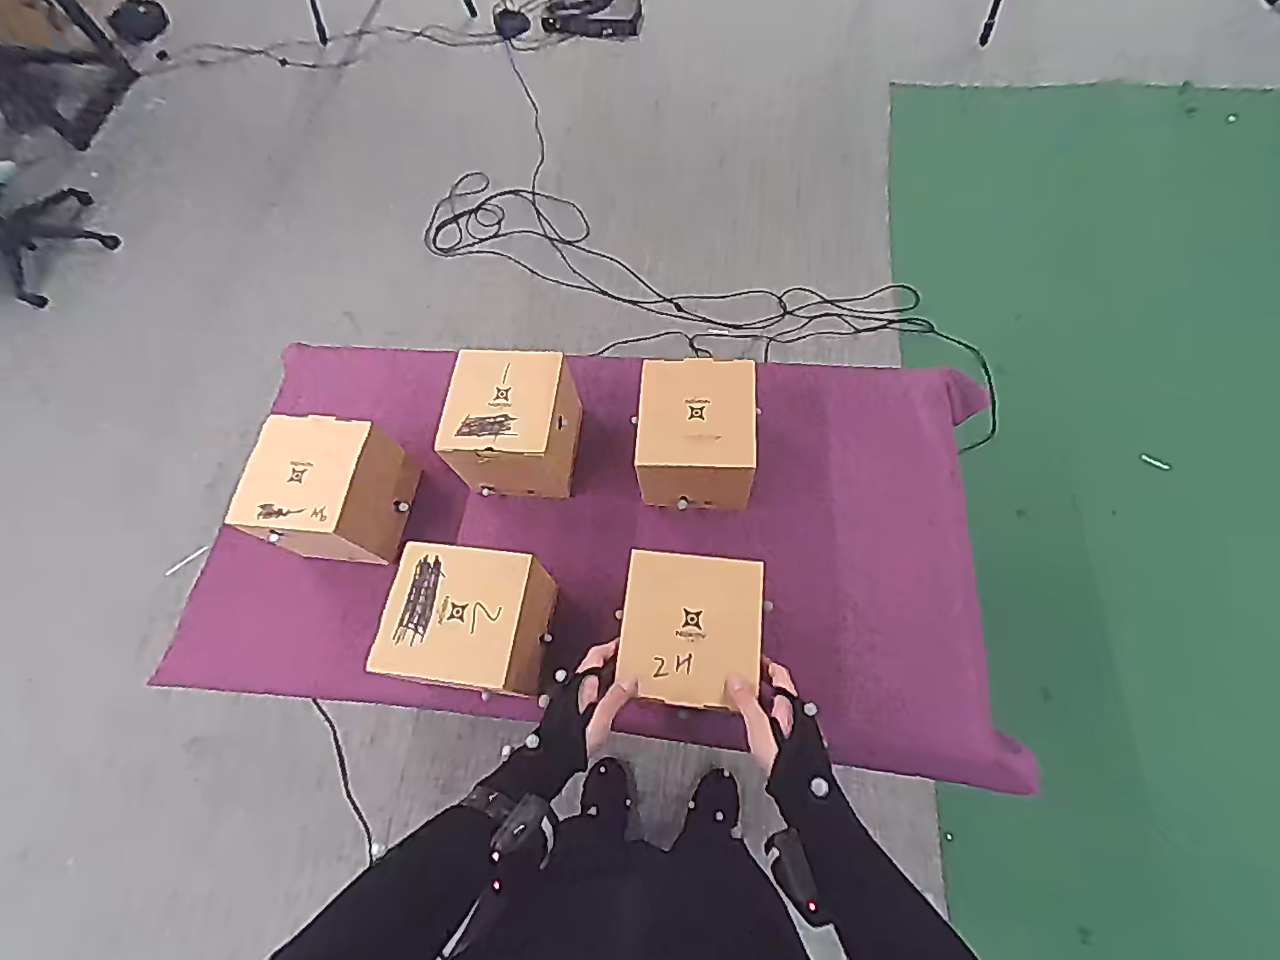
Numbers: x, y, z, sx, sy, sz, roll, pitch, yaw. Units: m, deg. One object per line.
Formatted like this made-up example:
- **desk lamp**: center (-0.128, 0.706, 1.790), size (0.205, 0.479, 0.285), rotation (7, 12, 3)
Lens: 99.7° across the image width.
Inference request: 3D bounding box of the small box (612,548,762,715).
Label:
- **small box**: center (0.065, 0.205, 0.715), size (0.168, 0.176, 0.179), rotation (5, 66, 8)

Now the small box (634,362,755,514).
- **small box**: center (0.085, -0.062, 0.836), size (0.168, 0.176, 0.179), rotation (2, 67, 7)

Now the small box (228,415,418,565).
- **small box**: center (-0.474, 0.020, 0.843), size (0.168, 0.176, 0.179), rotation (4, 66, 8)

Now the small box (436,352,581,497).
- **small box**: center (-0.197, -0.083, 0.868), size (0.168, 0.176, 0.179), rotation (3, 66, 6)
